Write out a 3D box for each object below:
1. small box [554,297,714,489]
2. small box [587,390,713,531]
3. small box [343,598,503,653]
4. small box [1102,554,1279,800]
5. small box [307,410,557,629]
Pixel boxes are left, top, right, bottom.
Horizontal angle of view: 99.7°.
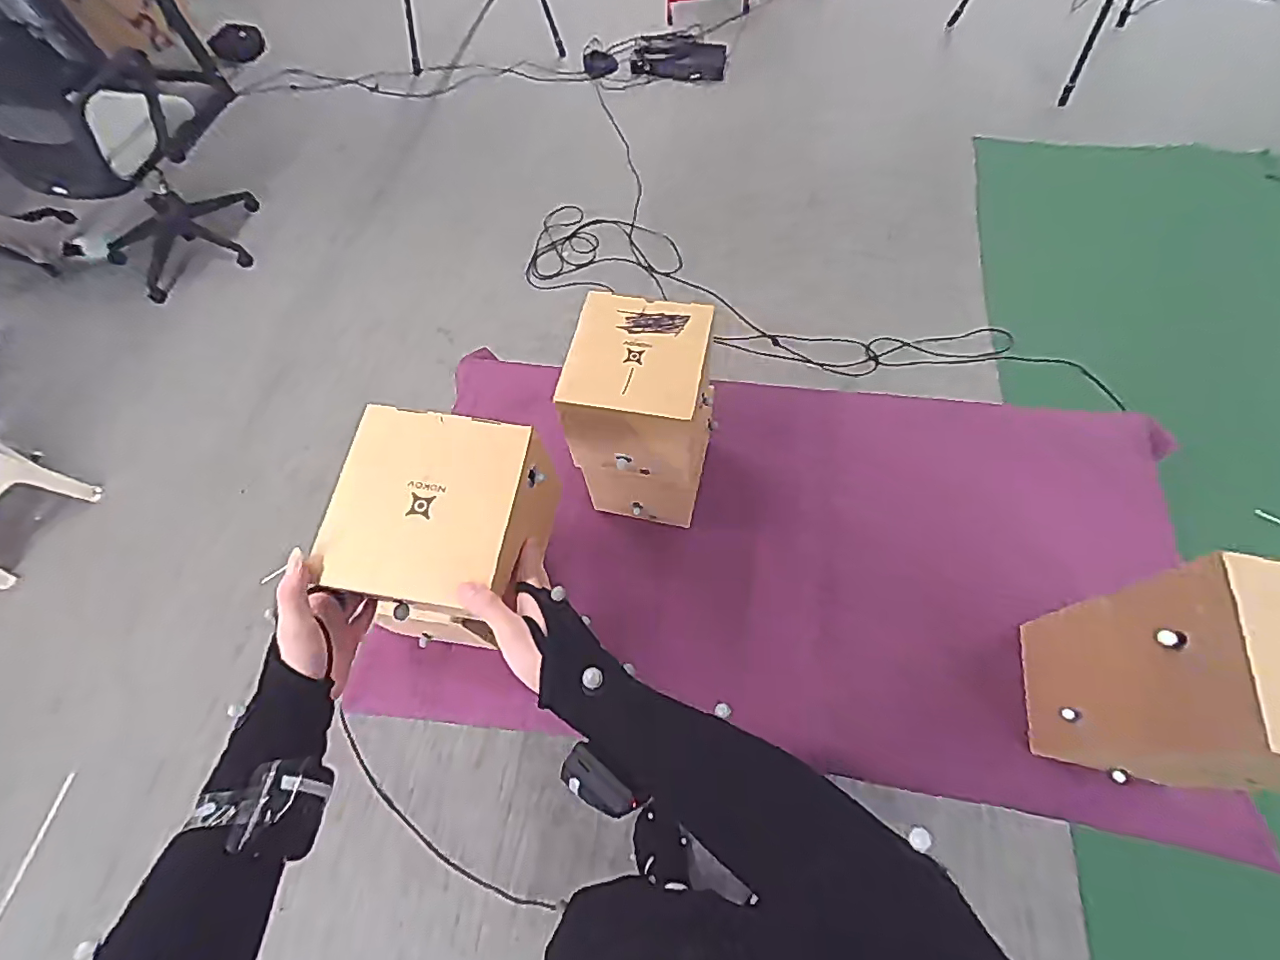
[{"bbox_3d":[-0.001,-0.111,0.721,0.168,0.176,0.179,9,65,9],"label":"small box"},{"bbox_3d":[0.015,-0.041,0.868,0.168,0.176,0.179,11,65,9],"label":"small box"},{"bbox_3d":[-0.286,0.140,0.795,0.168,0.176,0.179,6,63,7],"label":"small box"},{"bbox_3d":[0.595,0.195,0.521,0.168,0.176,0.179,10,63,10],"label":"small box"},{"bbox_3d":[-0.191,0.051,0.559,0.168,0.176,0.179,8,70,4],"label":"small box"}]
